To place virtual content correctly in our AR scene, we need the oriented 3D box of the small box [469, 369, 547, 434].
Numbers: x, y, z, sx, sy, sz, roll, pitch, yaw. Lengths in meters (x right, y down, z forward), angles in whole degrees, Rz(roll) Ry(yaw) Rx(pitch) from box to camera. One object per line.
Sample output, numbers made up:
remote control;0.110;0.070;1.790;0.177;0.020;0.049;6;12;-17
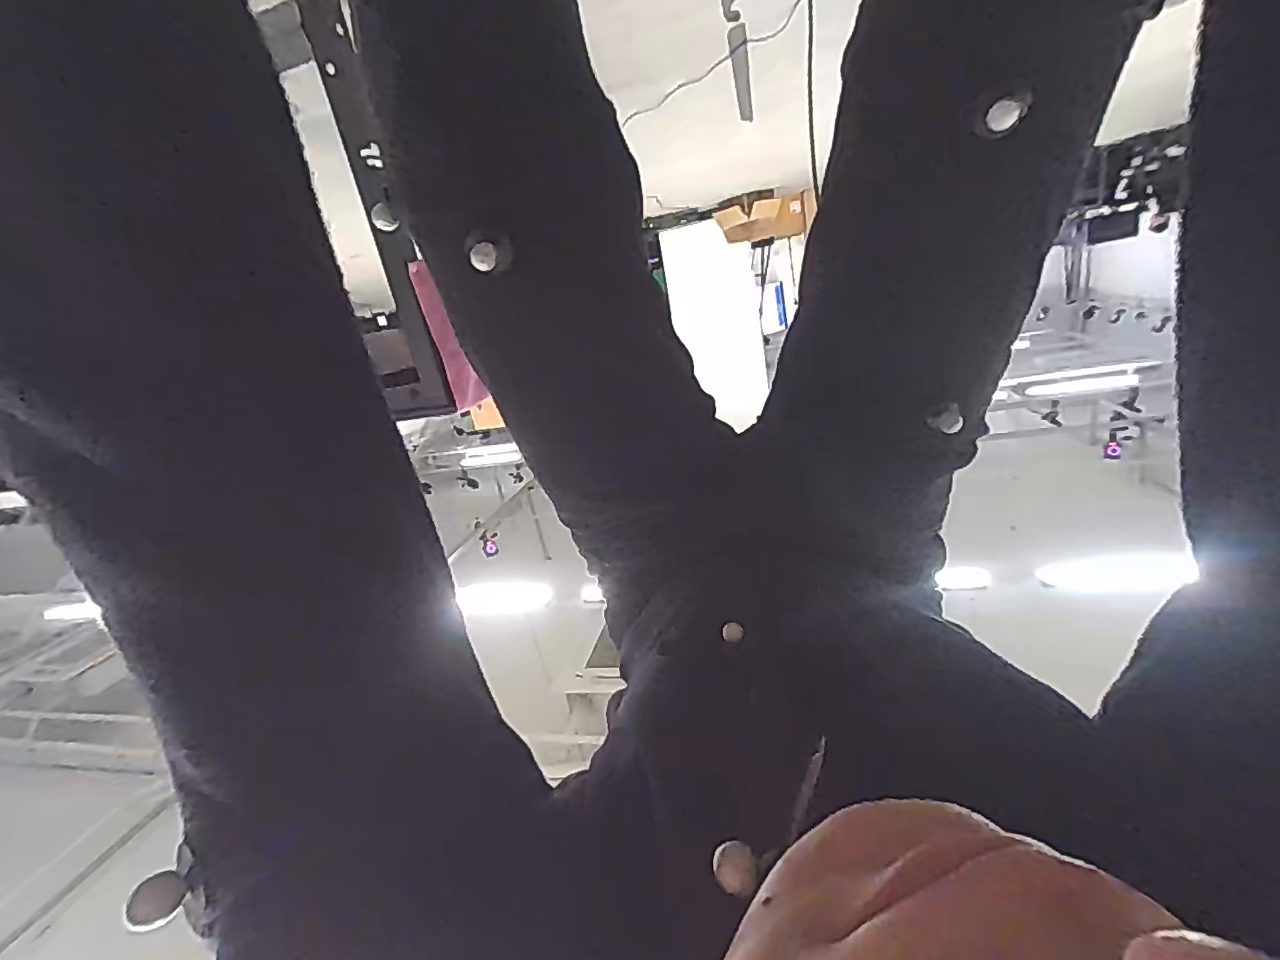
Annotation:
small box;-0.434;-0.259;1.759;0.179;0.176;0.168;-3;-159;25
